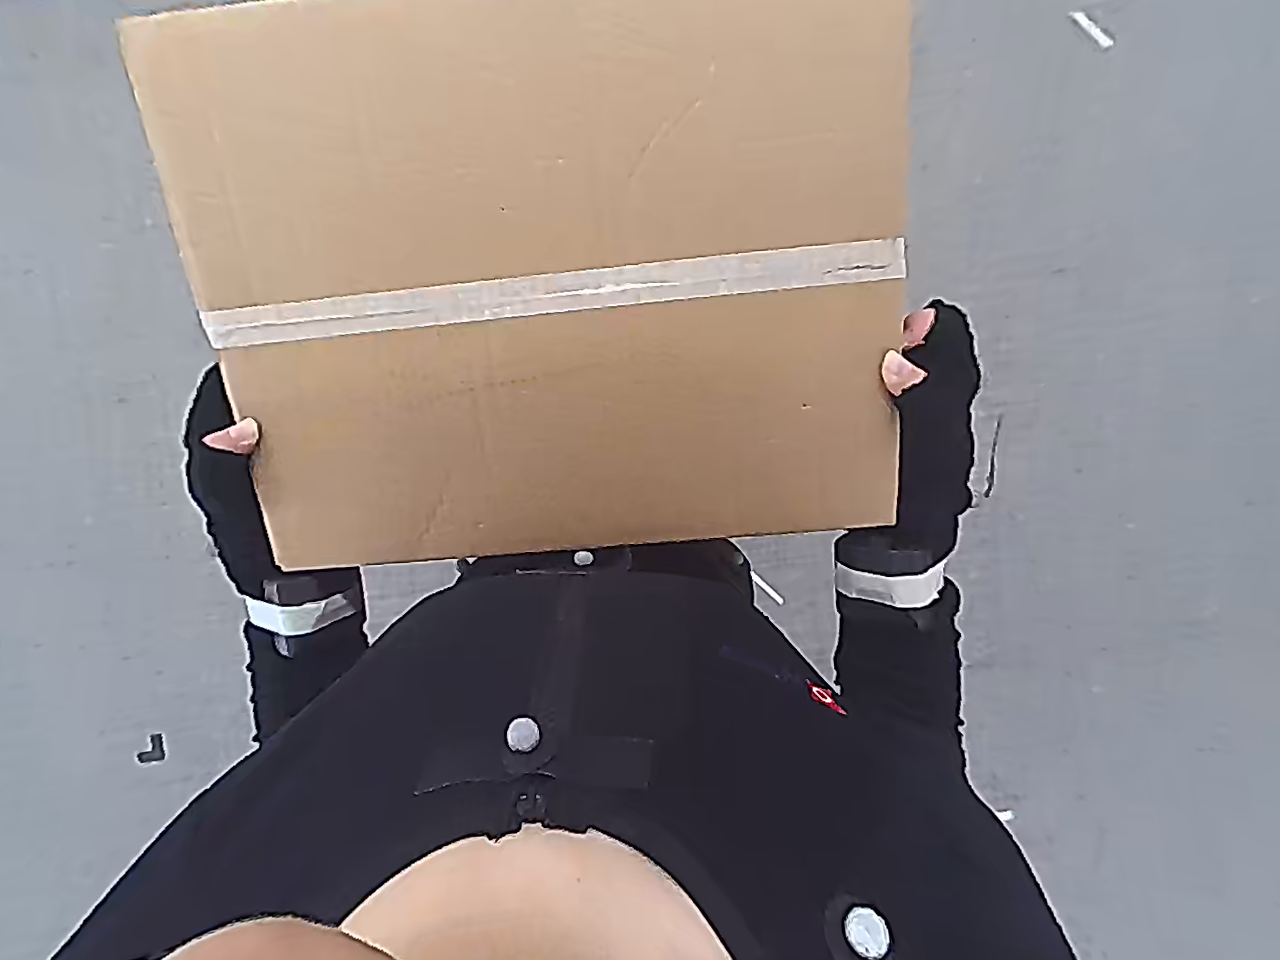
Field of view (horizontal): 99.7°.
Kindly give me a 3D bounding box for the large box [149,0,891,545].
[{"bbox_3d":[-0.053,-0.159,0.462,0.408,0.320,0.320,-5,106,3],"label":"large box"}]
